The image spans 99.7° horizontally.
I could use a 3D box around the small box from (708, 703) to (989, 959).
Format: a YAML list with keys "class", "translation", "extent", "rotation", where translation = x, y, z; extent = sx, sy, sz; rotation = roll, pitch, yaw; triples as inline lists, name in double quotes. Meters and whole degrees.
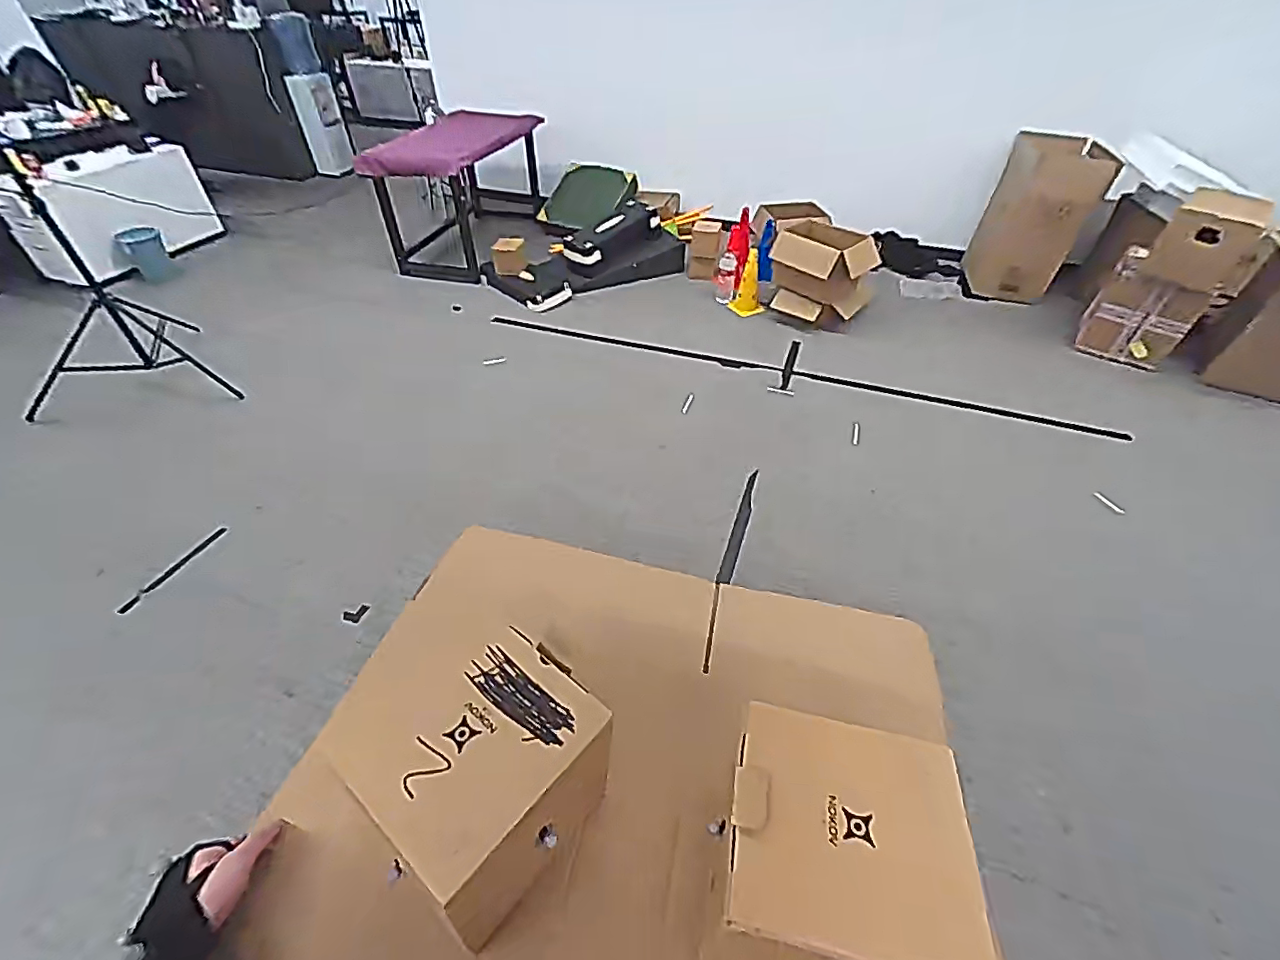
- class: "small box"
  translation: [0.163, 0.331, 0.474]
  extent: [0.179, 0.176, 0.168]
  rotation: [9, 39, 10]
